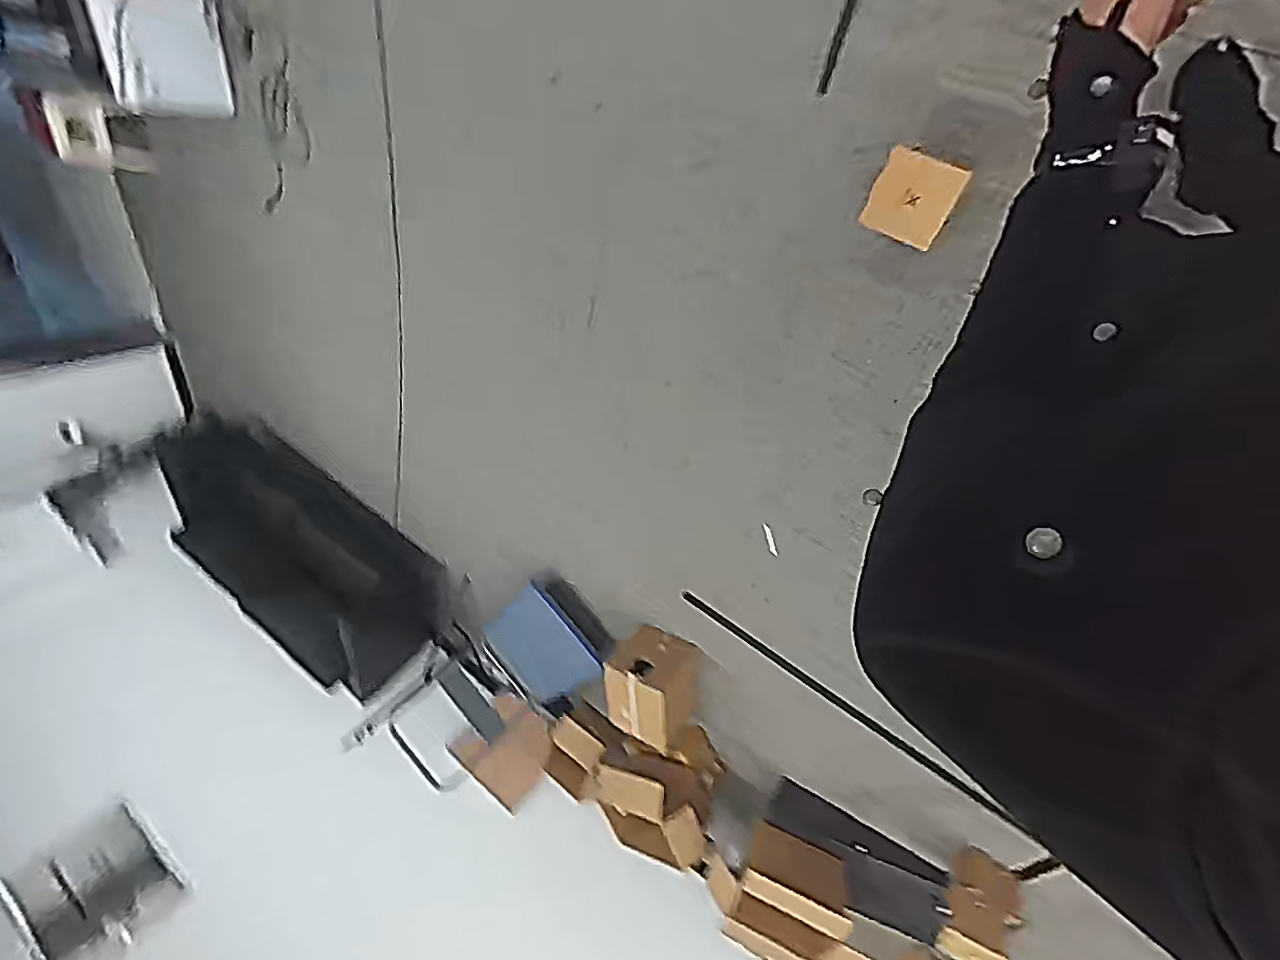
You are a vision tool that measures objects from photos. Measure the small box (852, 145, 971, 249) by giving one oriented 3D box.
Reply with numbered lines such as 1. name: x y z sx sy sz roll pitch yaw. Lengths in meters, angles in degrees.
1. small box: 0.630 -0.659 1.249 0.179 0.176 0.168 33 132 18
